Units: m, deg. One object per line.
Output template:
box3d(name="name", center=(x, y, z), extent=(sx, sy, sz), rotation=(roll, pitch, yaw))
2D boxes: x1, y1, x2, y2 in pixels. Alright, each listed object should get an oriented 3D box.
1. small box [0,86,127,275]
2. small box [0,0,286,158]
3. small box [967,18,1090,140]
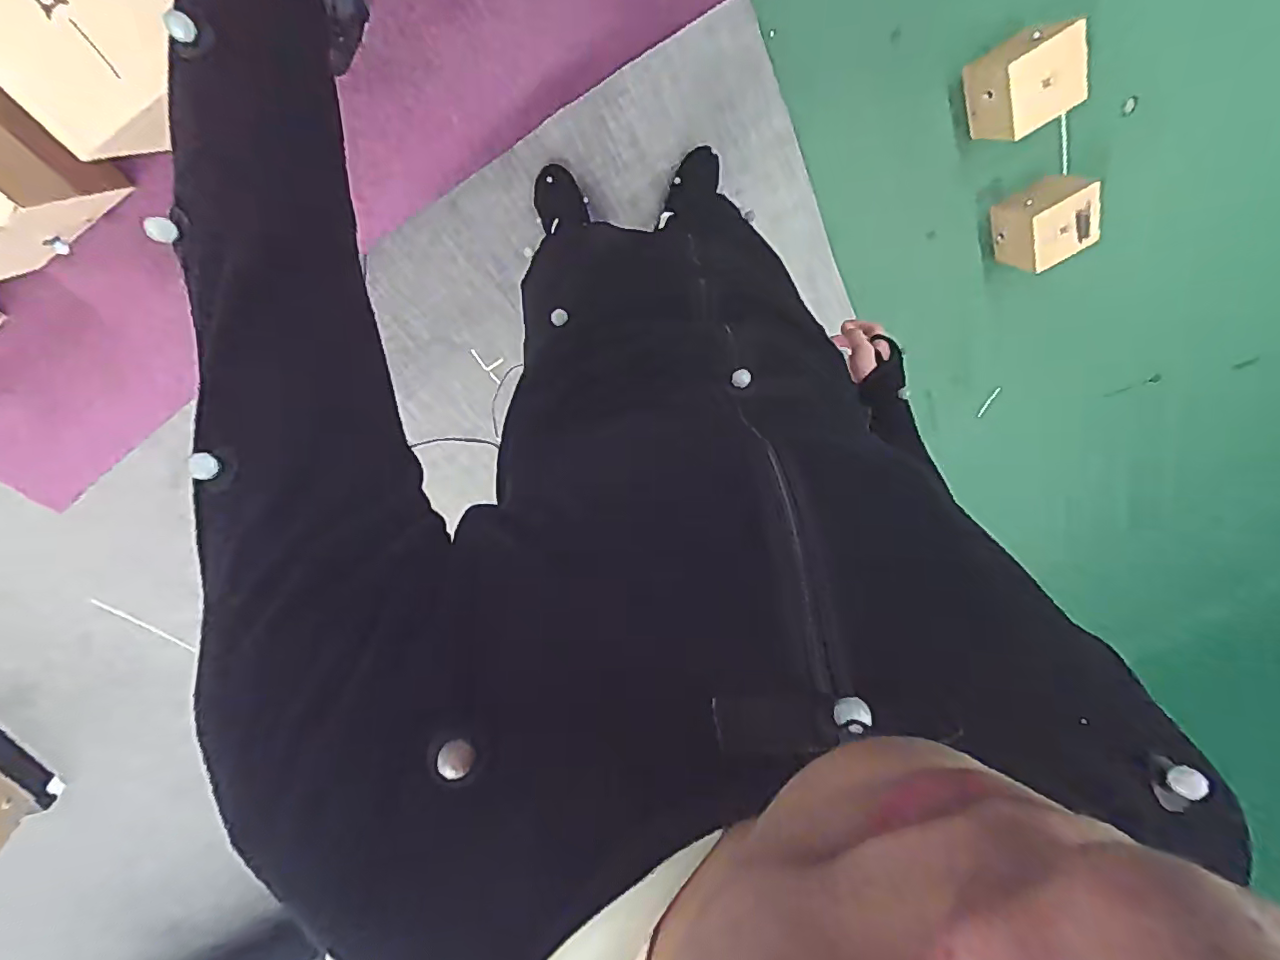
box3d(name="small box", center=(-0.662, -0.299, 0.503), extent=(0.168, 0.176, 0.179), rotation=(-30, 125, 10))
box3d(name="small box", center=(-0.460, -0.413, 0.466), extent=(0.168, 0.176, 0.179), rotation=(-28, 126, 9))
box3d(name="small box", center=(0.905, -0.933, 1.274), extent=(0.179, 0.176, 0.168), rotation=(-30, 124, 9))
